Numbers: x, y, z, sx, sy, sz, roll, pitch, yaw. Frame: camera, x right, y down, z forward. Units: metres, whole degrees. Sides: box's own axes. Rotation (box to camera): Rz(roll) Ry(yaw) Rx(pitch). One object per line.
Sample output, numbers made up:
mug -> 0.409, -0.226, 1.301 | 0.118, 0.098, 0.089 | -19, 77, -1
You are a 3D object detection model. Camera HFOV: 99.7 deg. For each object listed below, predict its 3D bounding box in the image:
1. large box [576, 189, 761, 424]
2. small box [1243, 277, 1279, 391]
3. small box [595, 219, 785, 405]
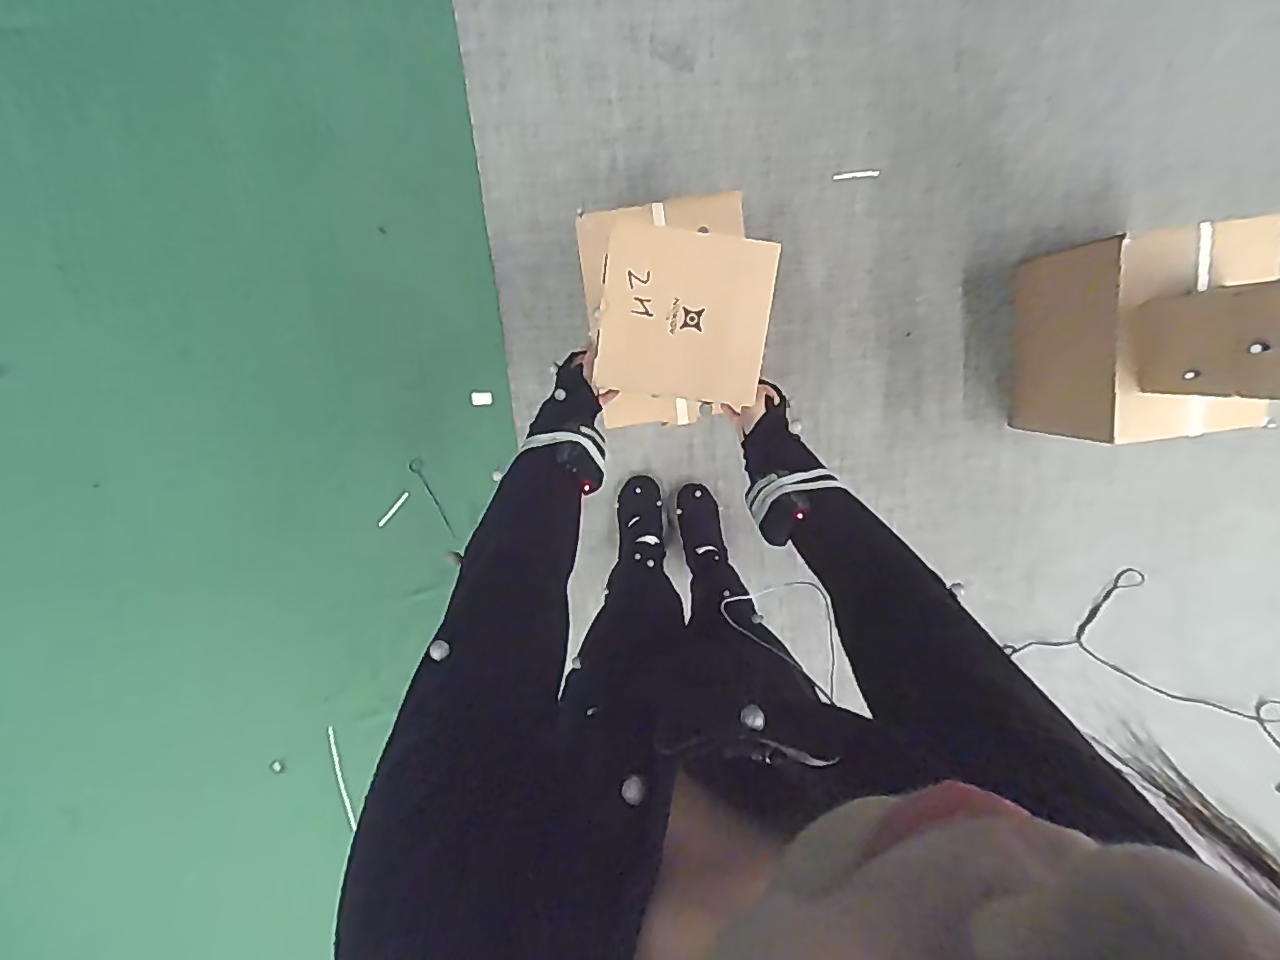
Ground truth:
large box -> 0.061, -0.351, 1.180 | 0.320, 0.320, 0.408 | -8, 101, 1
small box -> 1.061, -0.228, 0.798 | 0.168, 0.176, 0.179 | -15, 102, 4
small box -> 0.049, -0.187, 0.632 | 0.179, 0.176, 0.168 | 7, 102, -1
